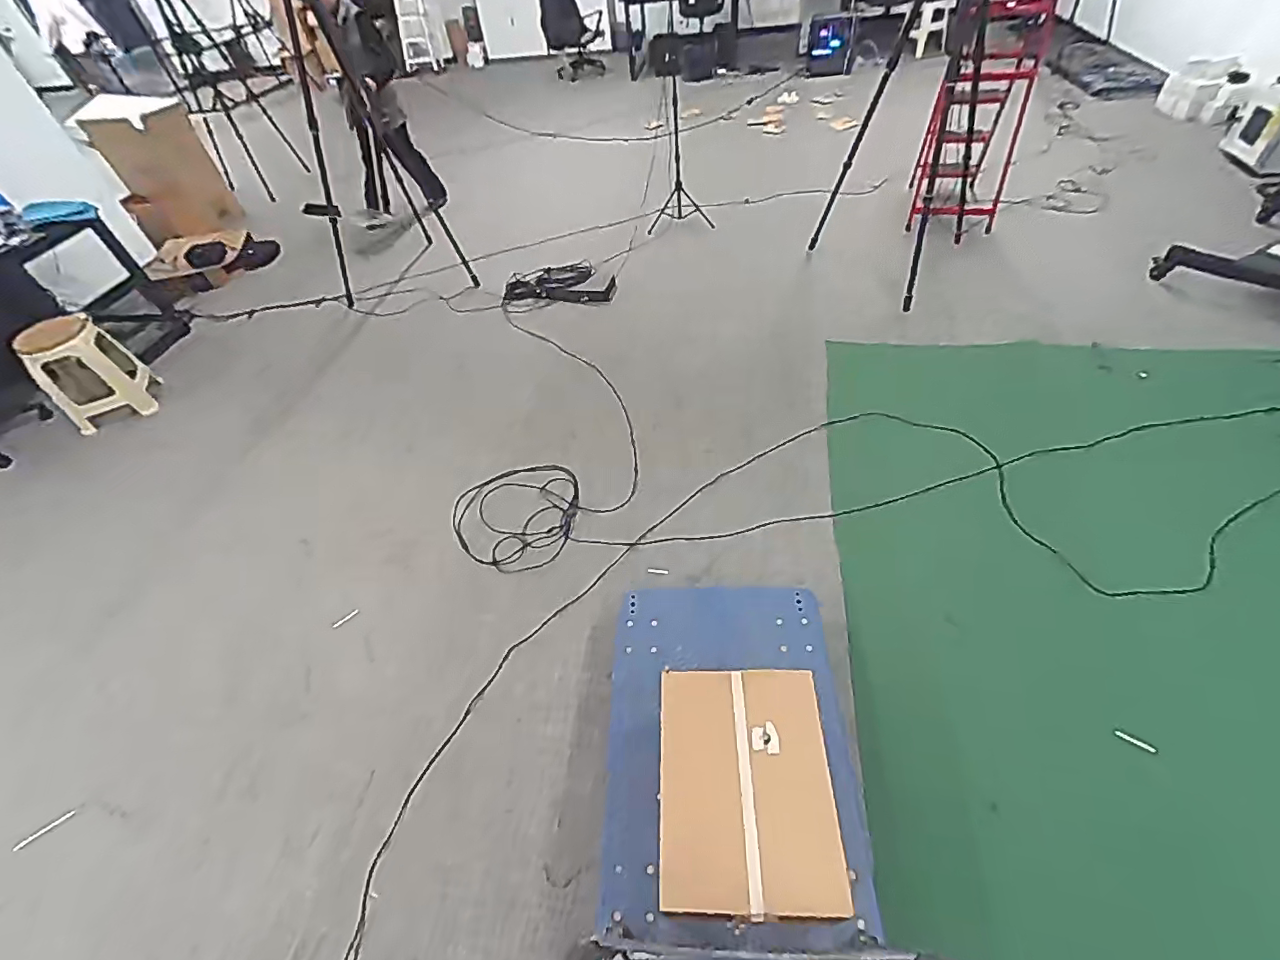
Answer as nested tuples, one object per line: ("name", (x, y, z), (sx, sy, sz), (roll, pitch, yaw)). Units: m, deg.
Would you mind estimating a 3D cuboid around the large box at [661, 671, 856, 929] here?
("large box", (0.212, 0.654, 1.112), (0.320, 0.320, 0.408), (-2, 47, 4))
